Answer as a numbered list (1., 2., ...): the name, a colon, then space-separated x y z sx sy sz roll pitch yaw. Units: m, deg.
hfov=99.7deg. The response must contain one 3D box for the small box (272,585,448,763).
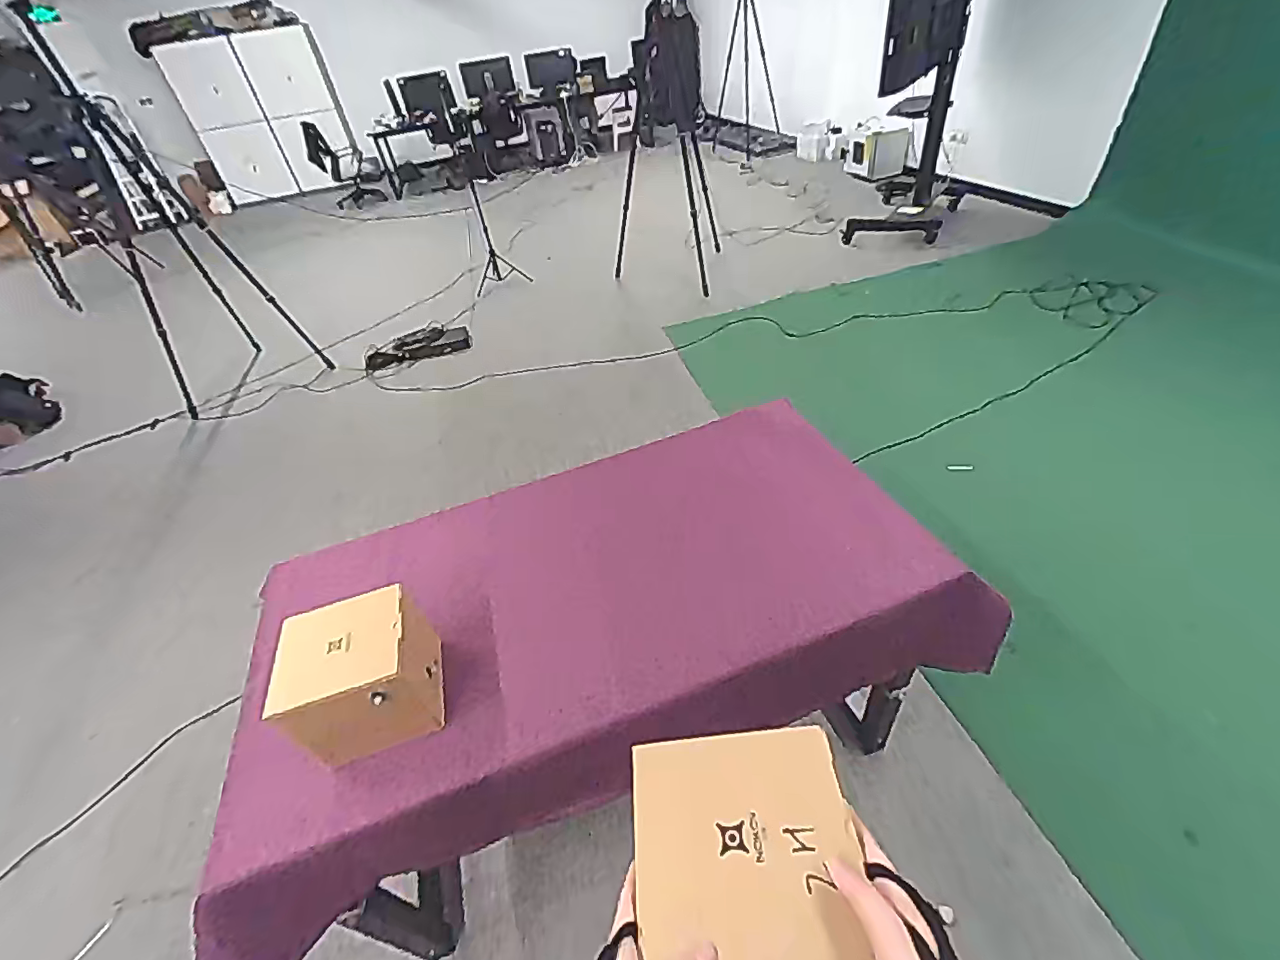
1. small box: -0.412 0.299 0.828 0.179 0.176 0.168 -18 41 -9

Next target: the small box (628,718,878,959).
1. small box: 0.091 0.340 0.483 0.179 0.176 0.168 -9 40 5
